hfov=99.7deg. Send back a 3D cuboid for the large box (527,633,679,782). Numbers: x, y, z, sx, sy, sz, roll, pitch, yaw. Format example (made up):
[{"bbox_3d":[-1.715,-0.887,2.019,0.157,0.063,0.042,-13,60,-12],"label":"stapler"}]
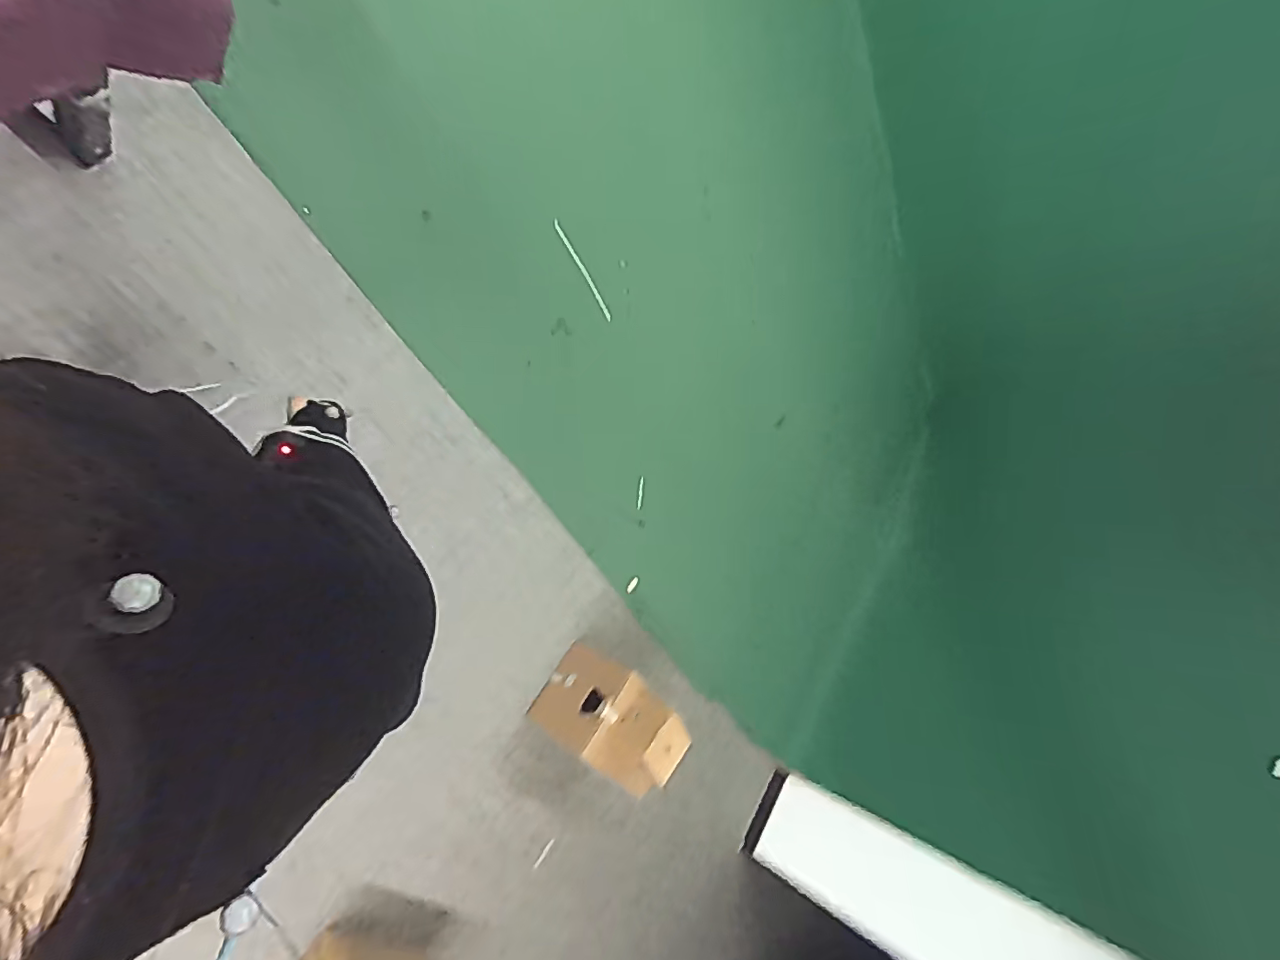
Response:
[{"bbox_3d":[-0.128,0.823,1.976,0.320,0.320,0.408,-54,131,-24],"label":"large box"}]

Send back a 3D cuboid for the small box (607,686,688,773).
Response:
[{"bbox_3d":[0.023,0.813,1.778,0.168,0.176,0.179,-45,125,-32],"label":"small box"}]
